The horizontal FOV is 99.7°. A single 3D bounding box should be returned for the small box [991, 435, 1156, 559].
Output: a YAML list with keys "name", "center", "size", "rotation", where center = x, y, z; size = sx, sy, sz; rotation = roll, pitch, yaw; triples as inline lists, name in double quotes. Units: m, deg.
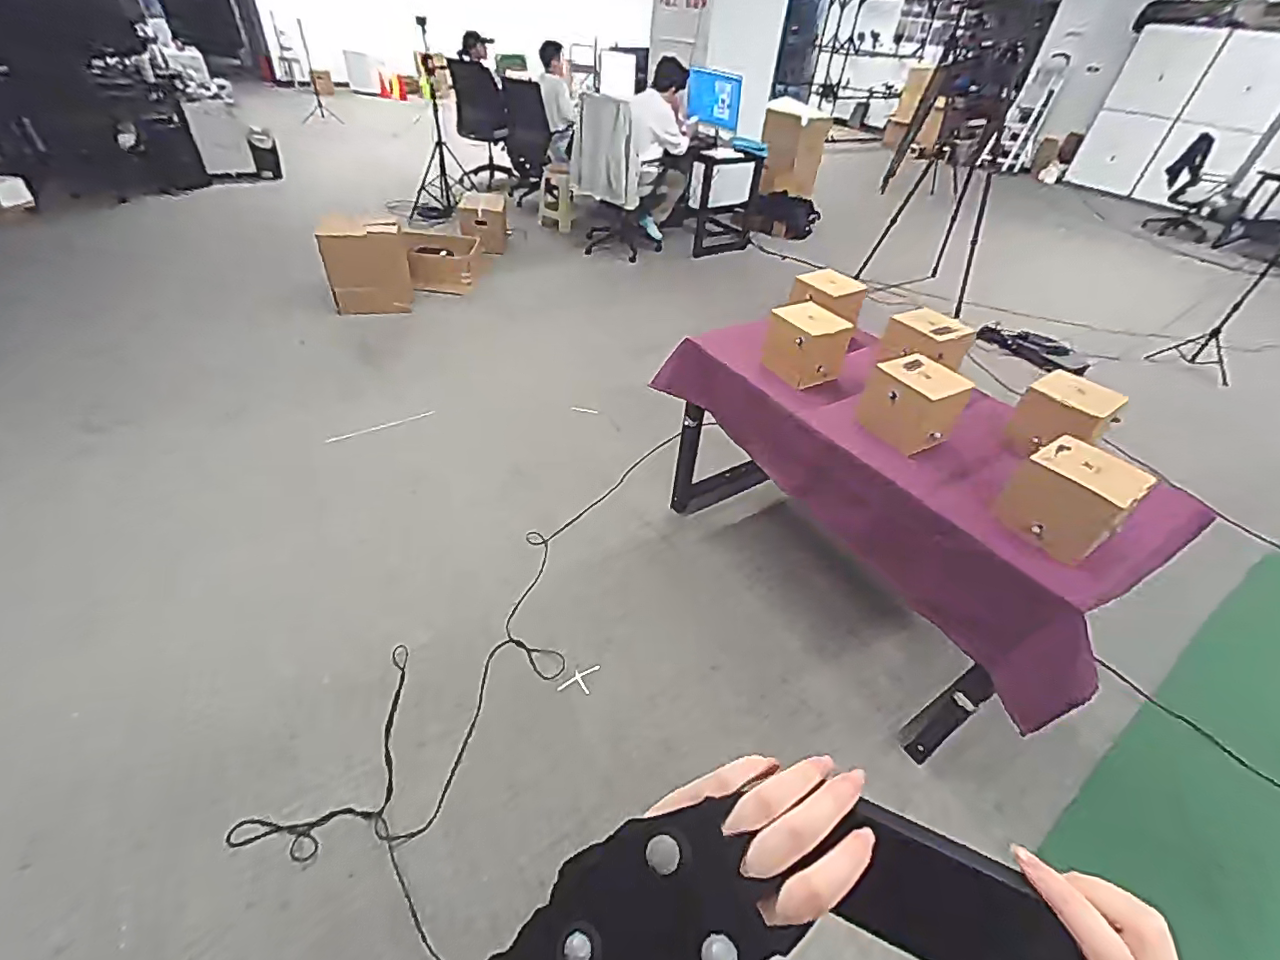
- name: "small box"
  center: [0.877, 0.040, 1.109]
  size: [0.168, 0.176, 0.179]
  rotation: [-21, 48, -28]

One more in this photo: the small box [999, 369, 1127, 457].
- name: "small box"
  center: [1.043, -0.150, 1.347]
  size: [0.179, 0.176, 0.168]
  rotation: [-23, 48, -29]

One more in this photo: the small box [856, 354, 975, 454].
- name: "small box"
  center: [0.680, -0.191, 1.355]
  size: [0.168, 0.176, 0.179]
  rotation: [-18, 47, -25]

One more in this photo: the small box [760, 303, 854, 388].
- name: "small box"
  center: [0.473, -0.389, 1.561]
  size: [0.168, 0.176, 0.179]
  rotation: [-20, 48, -27]
